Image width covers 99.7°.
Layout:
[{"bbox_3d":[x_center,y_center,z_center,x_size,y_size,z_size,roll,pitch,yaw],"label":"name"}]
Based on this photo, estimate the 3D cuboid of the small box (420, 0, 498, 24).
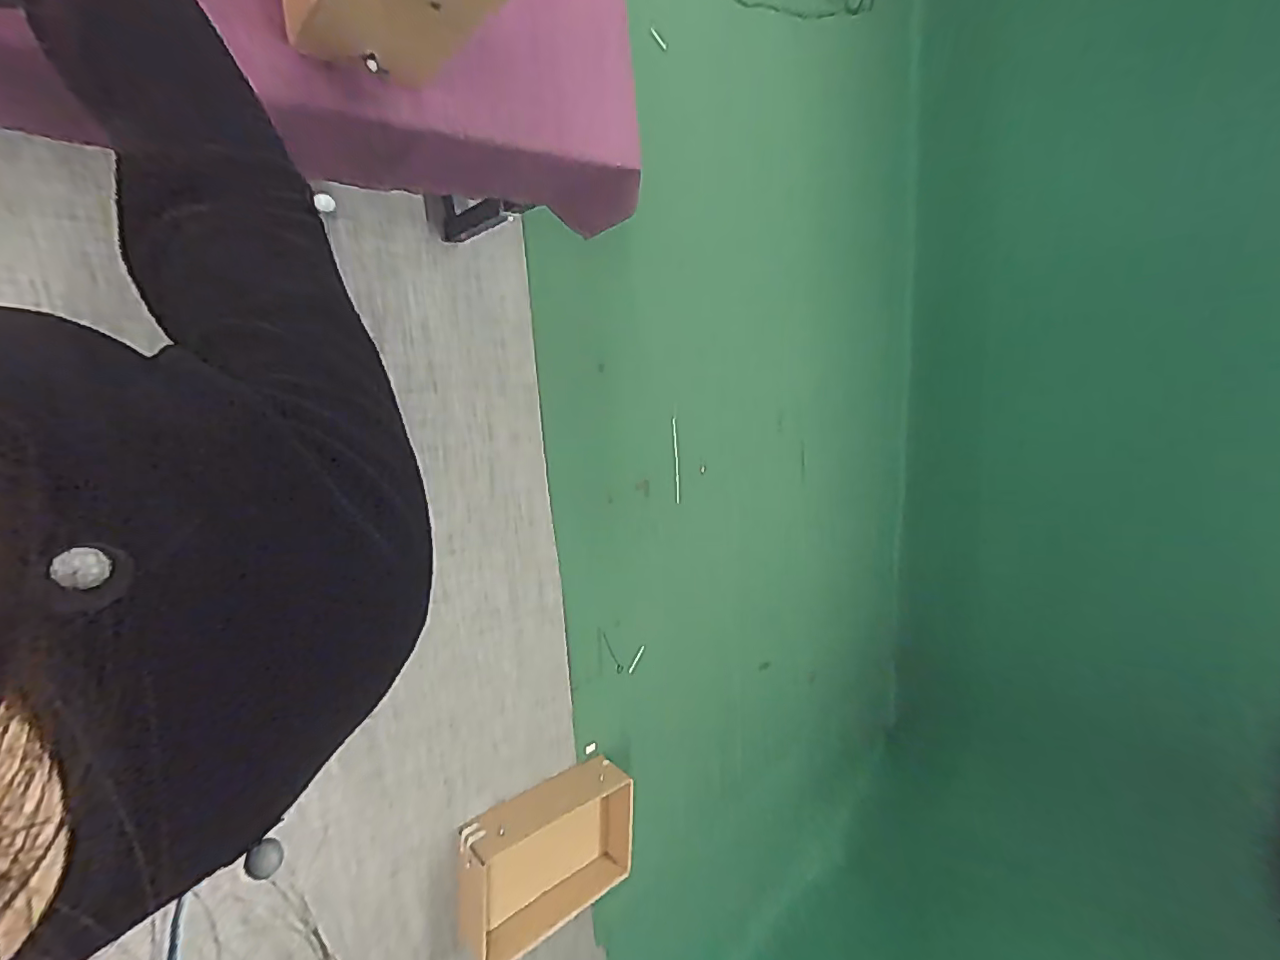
[{"bbox_3d":[-0.198,-0.591,0.510,0.168,0.176,0.179,-12,103,-42],"label":"small box"}]
